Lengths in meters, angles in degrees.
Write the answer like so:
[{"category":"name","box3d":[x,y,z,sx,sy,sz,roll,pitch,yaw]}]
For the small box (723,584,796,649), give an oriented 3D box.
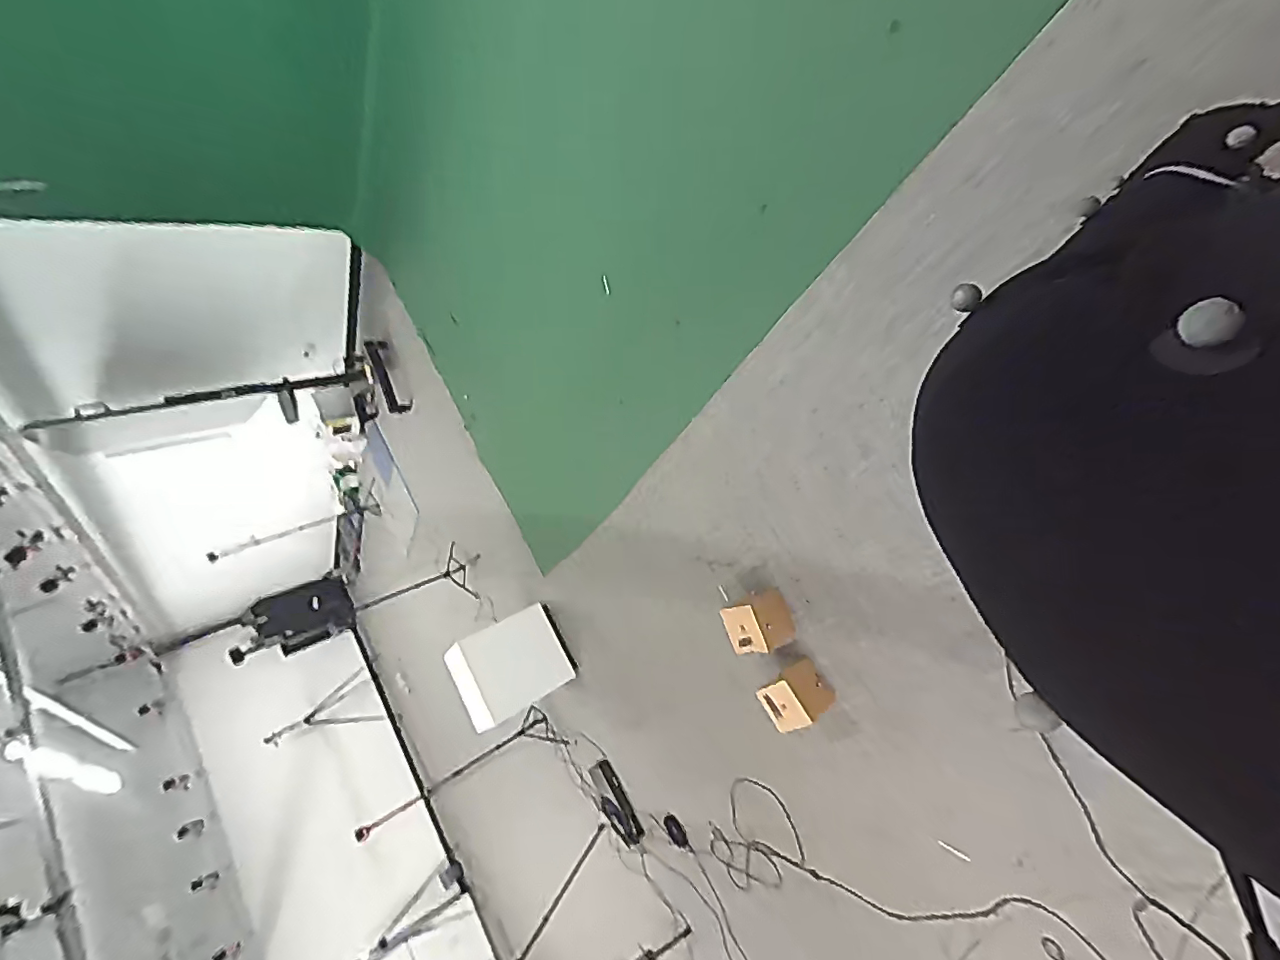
[{"category":"small box","box3d":[0.443,0.502,1.986,0.168,0.176,0.179,-27,83,51]}]
